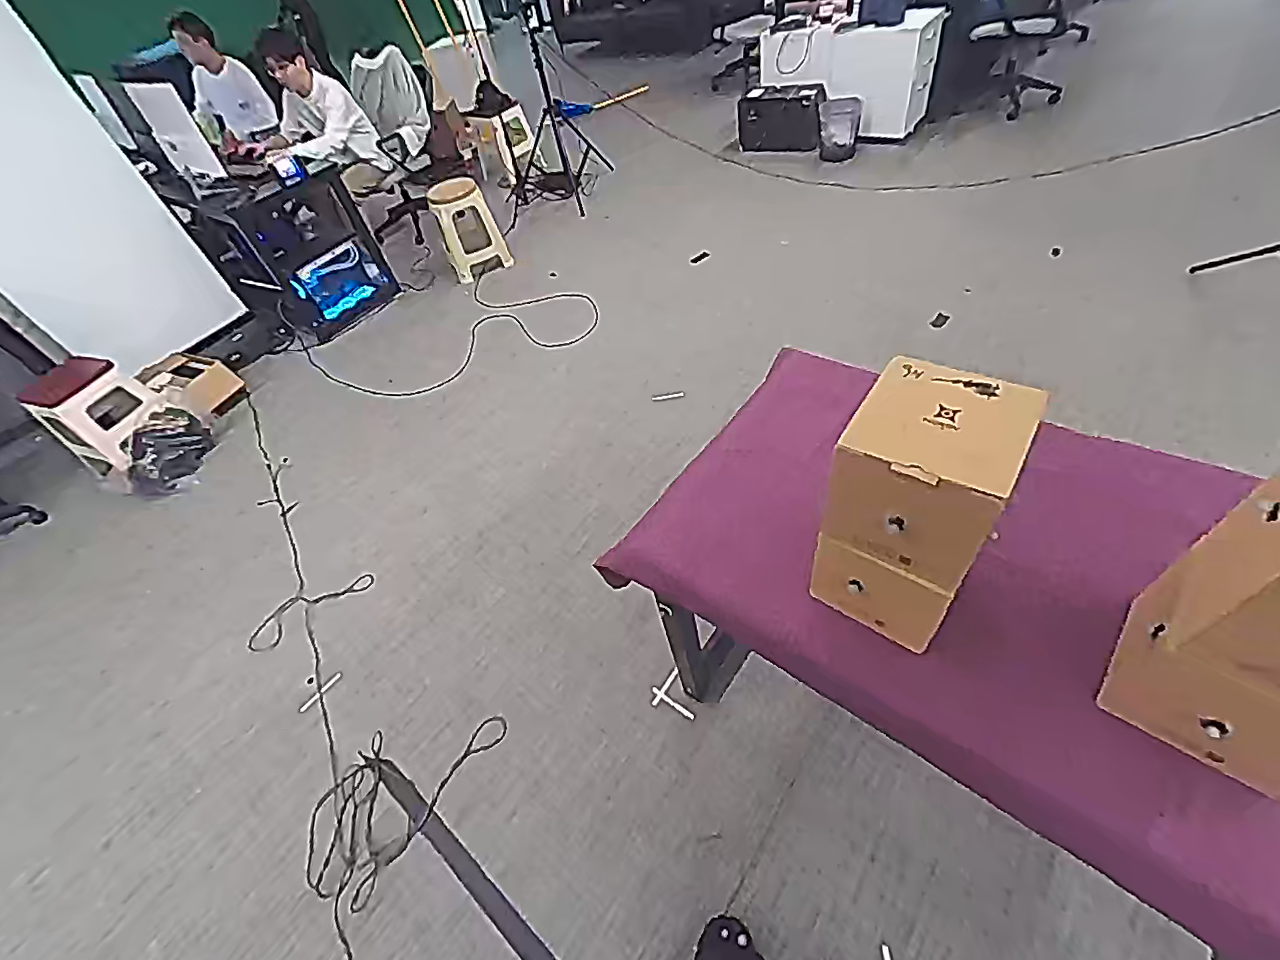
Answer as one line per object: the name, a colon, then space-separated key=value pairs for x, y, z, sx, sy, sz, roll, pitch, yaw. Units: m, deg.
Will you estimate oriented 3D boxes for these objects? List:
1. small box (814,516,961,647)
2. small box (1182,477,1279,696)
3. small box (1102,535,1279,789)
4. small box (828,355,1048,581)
small box: x=0.358 y=0.099 z=0.755 sx=0.168 sy=0.176 sz=0.179 roll=28 pitch=59 yaw=30
small box: x=0.638 y=0.095 z=0.475 sx=0.168 sy=0.176 sz=0.179 roll=29 pitch=61 yaw=32
small box: x=0.660 y=0.202 z=0.598 sx=0.168 sy=0.176 sz=0.179 roll=30 pitch=61 yaw=31
small box: x=0.335 y=-0.013 z=0.636 sx=0.168 sy=0.176 sz=0.179 roll=25 pitch=59 yaw=29
